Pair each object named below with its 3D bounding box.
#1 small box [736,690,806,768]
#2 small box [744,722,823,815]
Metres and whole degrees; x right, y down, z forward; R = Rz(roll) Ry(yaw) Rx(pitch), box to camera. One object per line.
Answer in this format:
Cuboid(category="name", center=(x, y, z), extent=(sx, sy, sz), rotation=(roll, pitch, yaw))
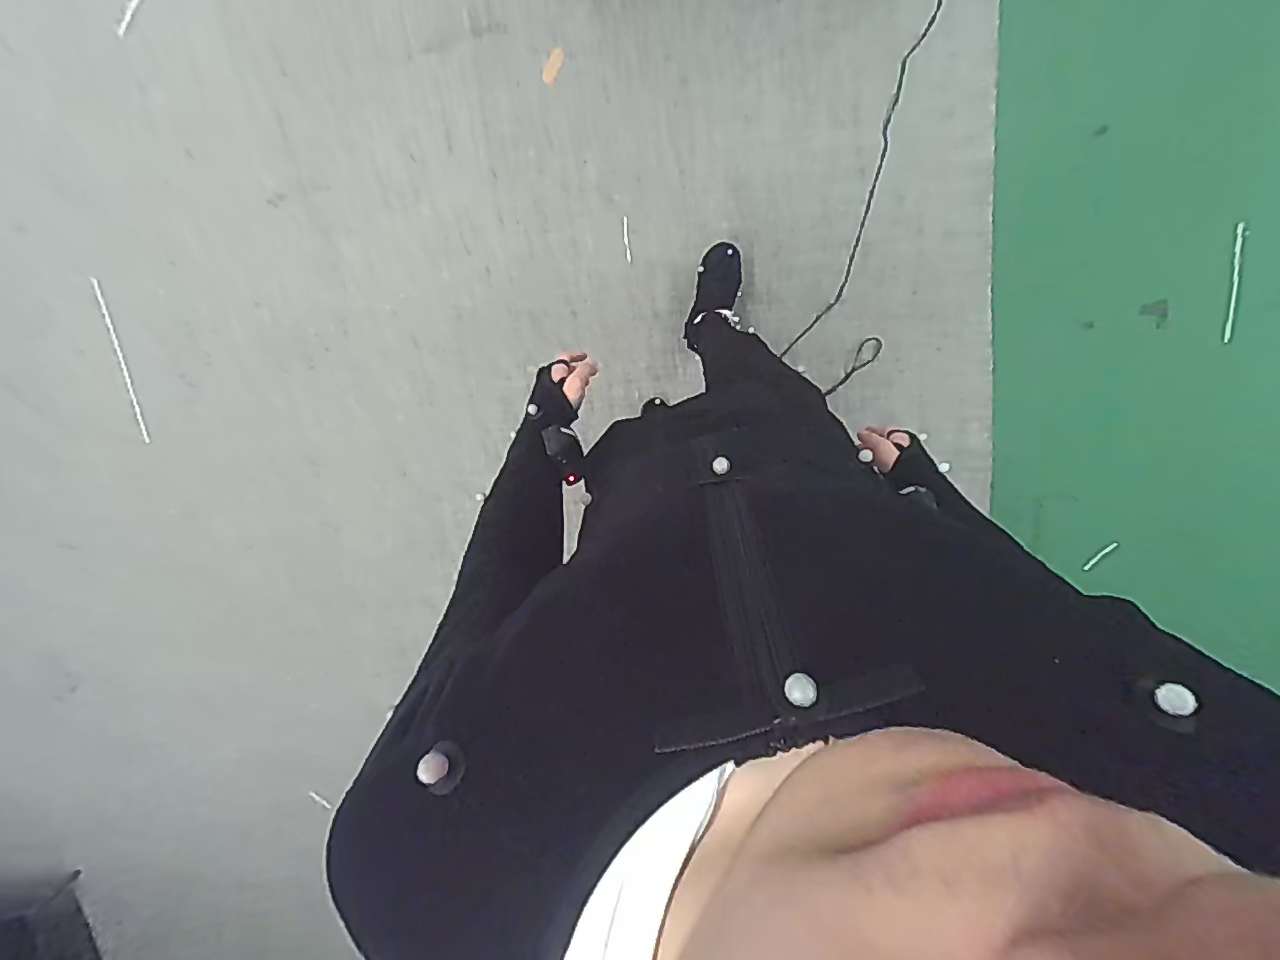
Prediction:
Cuboid(category="small box", center=(0.400, 0.775, 1.681), extent=(0.179, 0.176, 0.168), rotation=(2, 102, 1))
Cuboid(category="small box", center=(0.394, 0.802, 1.517), extent=(0.179, 0.176, 0.168), rotation=(2, 102, 0))
